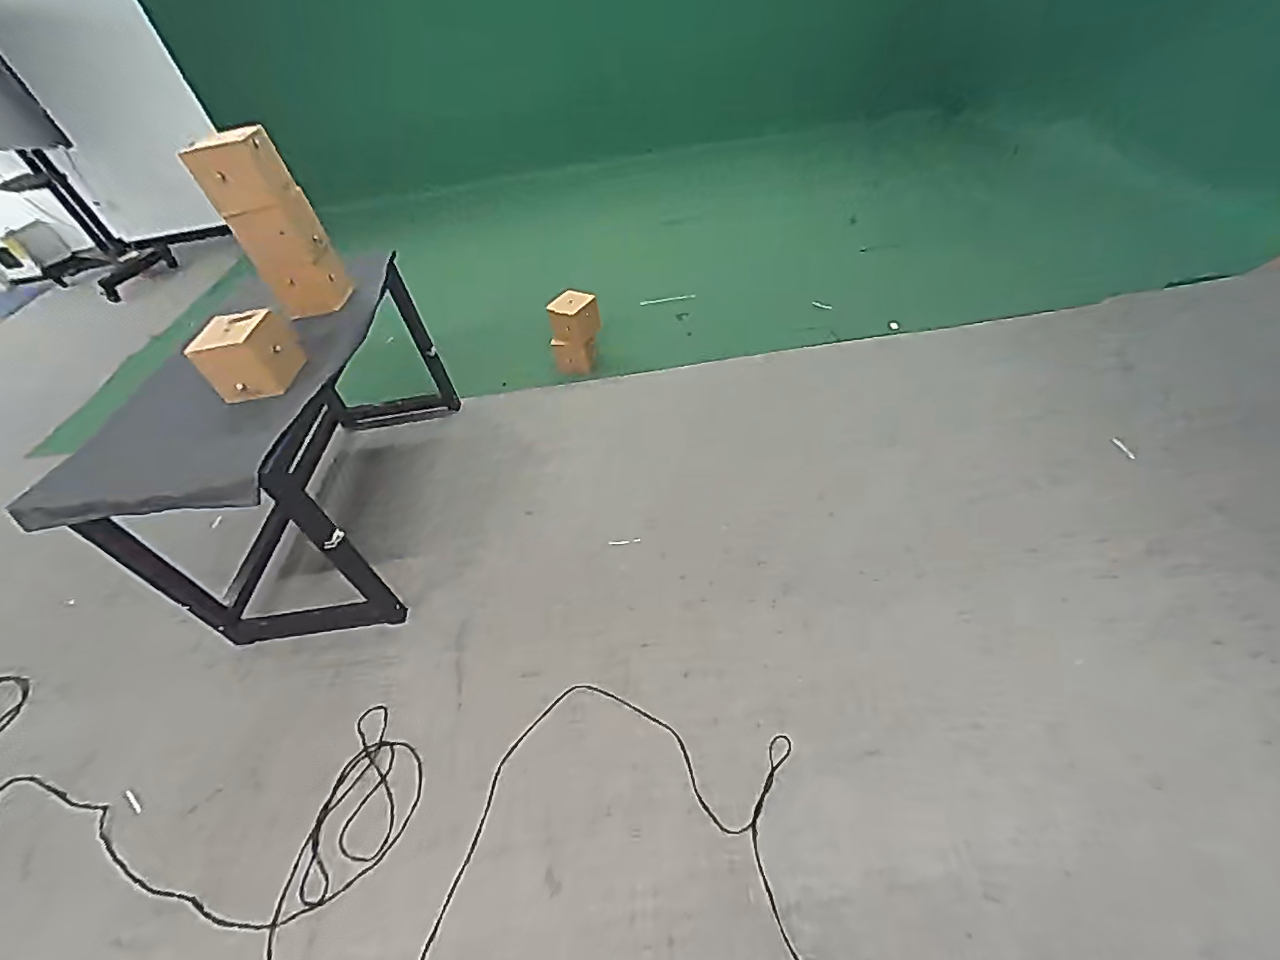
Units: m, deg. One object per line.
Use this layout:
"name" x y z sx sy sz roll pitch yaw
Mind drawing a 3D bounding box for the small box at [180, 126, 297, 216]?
"small box" -1.126 -0.873 1.533 0.179 0.176 0.168 -12 46 2

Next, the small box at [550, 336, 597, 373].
"small box" -0.315 -0.636 2.632 0.168 0.176 0.179 4 48 14

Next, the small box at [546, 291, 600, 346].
"small box" -0.305 -0.748 2.510 0.168 0.176 0.179 22 53 26

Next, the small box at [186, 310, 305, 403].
"small box" -1.049 -0.333 1.459 0.168 0.176 0.179 -8 46 4

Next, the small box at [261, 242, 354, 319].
"small box" -1.078 -0.651 1.770 0.179 0.176 0.168 -9 46 4
